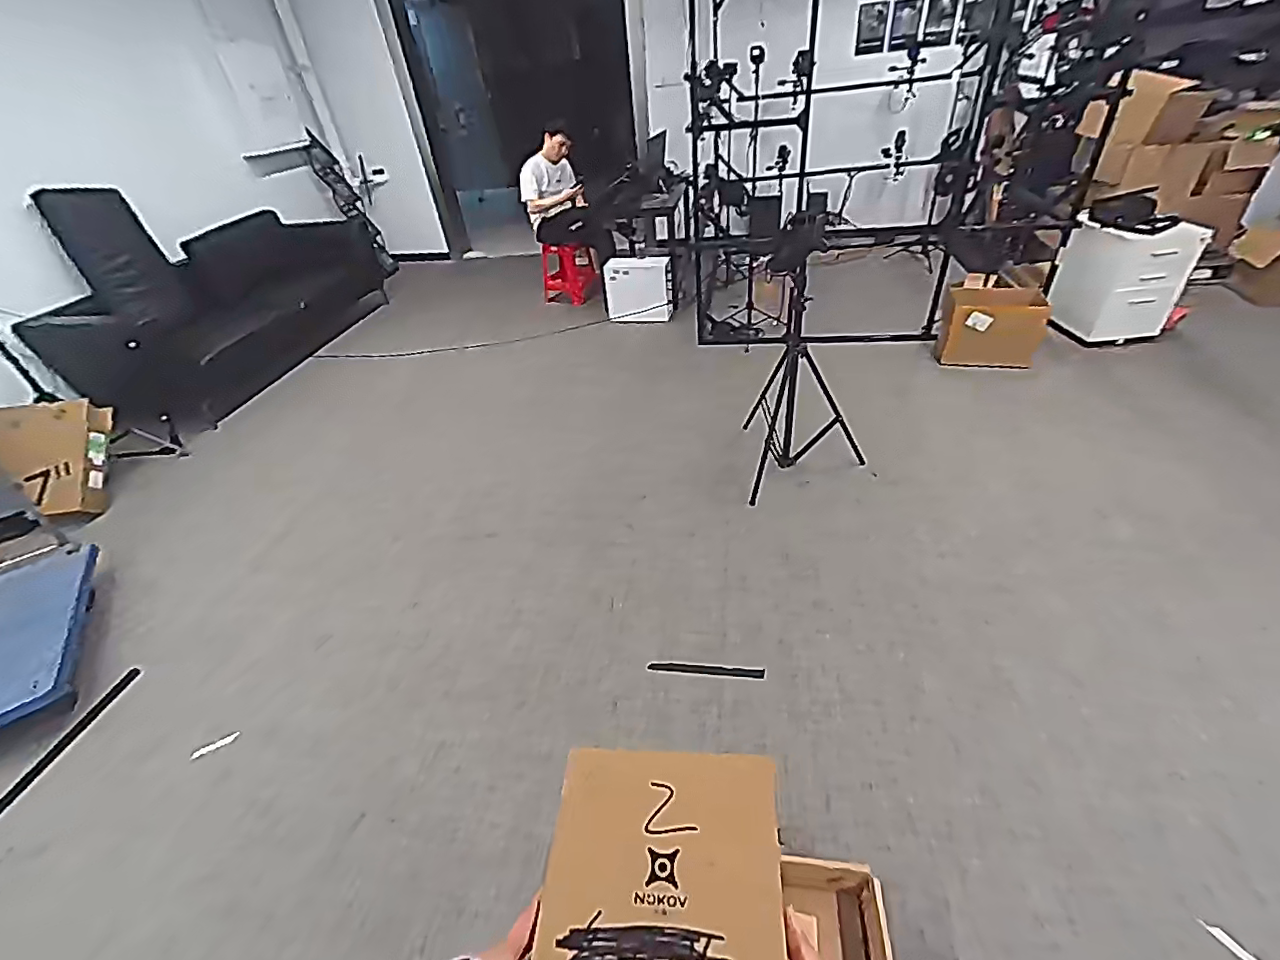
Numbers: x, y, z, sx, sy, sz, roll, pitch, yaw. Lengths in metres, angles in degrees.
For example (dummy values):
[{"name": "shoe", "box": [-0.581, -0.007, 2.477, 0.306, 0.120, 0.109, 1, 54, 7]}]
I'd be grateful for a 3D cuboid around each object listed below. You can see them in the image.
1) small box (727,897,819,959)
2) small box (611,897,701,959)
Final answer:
[{"name": "small box", "box": [0.250, 0.950, 1.038, 0.168, 0.176, 0.179, 4, 39, 14]}, {"name": "small box", "box": [0.033, 0.956, 1.057, 0.168, 0.176, 0.179, 1, 38, 7]}]
